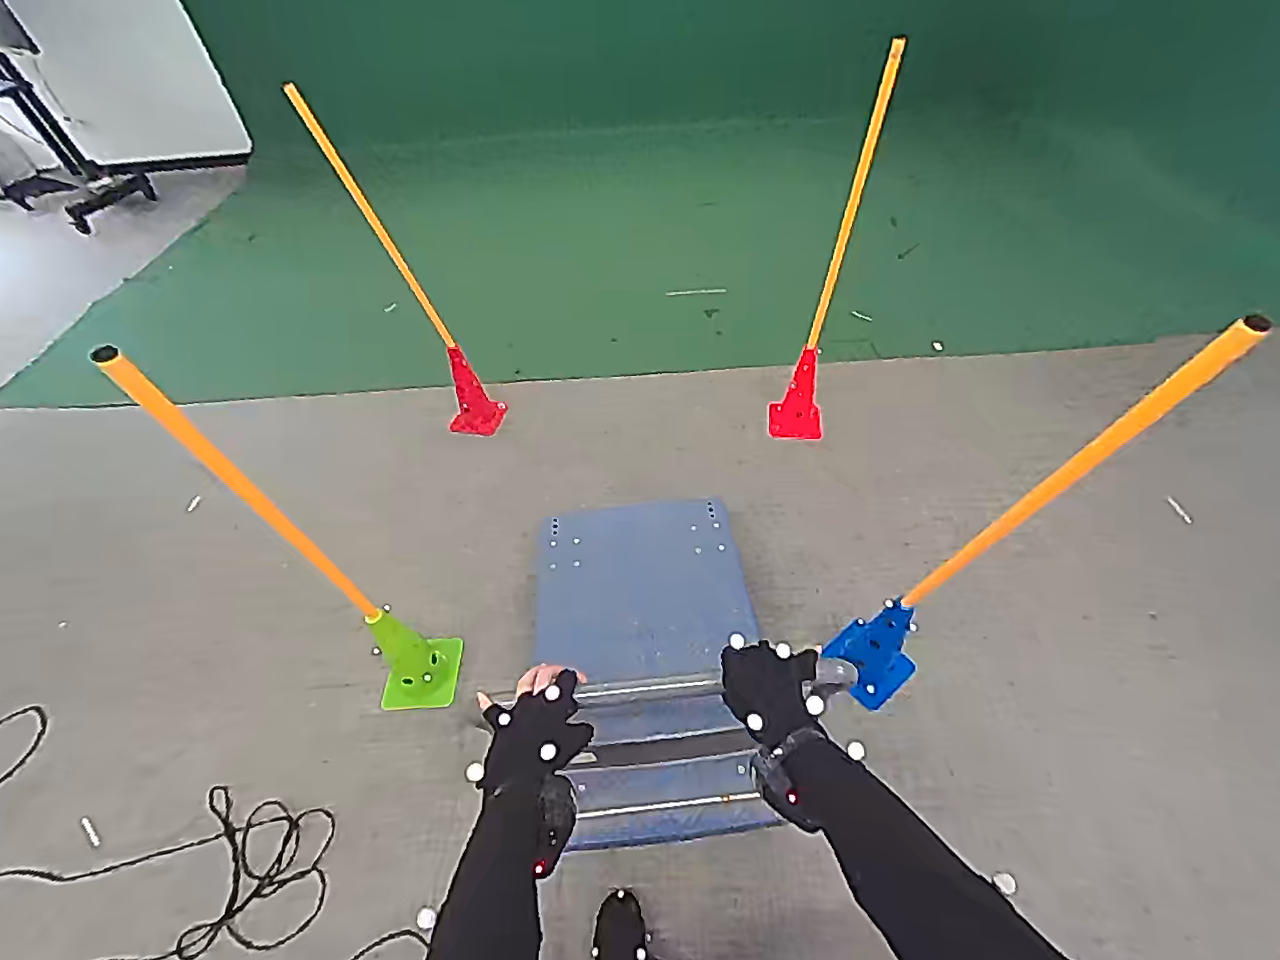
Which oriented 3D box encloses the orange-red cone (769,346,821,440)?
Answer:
[{"bbox_3d":[0.604,-0.341,2.018,0.198,0.360,0.199,5,50,9],"label":"orange-red cone"}]
